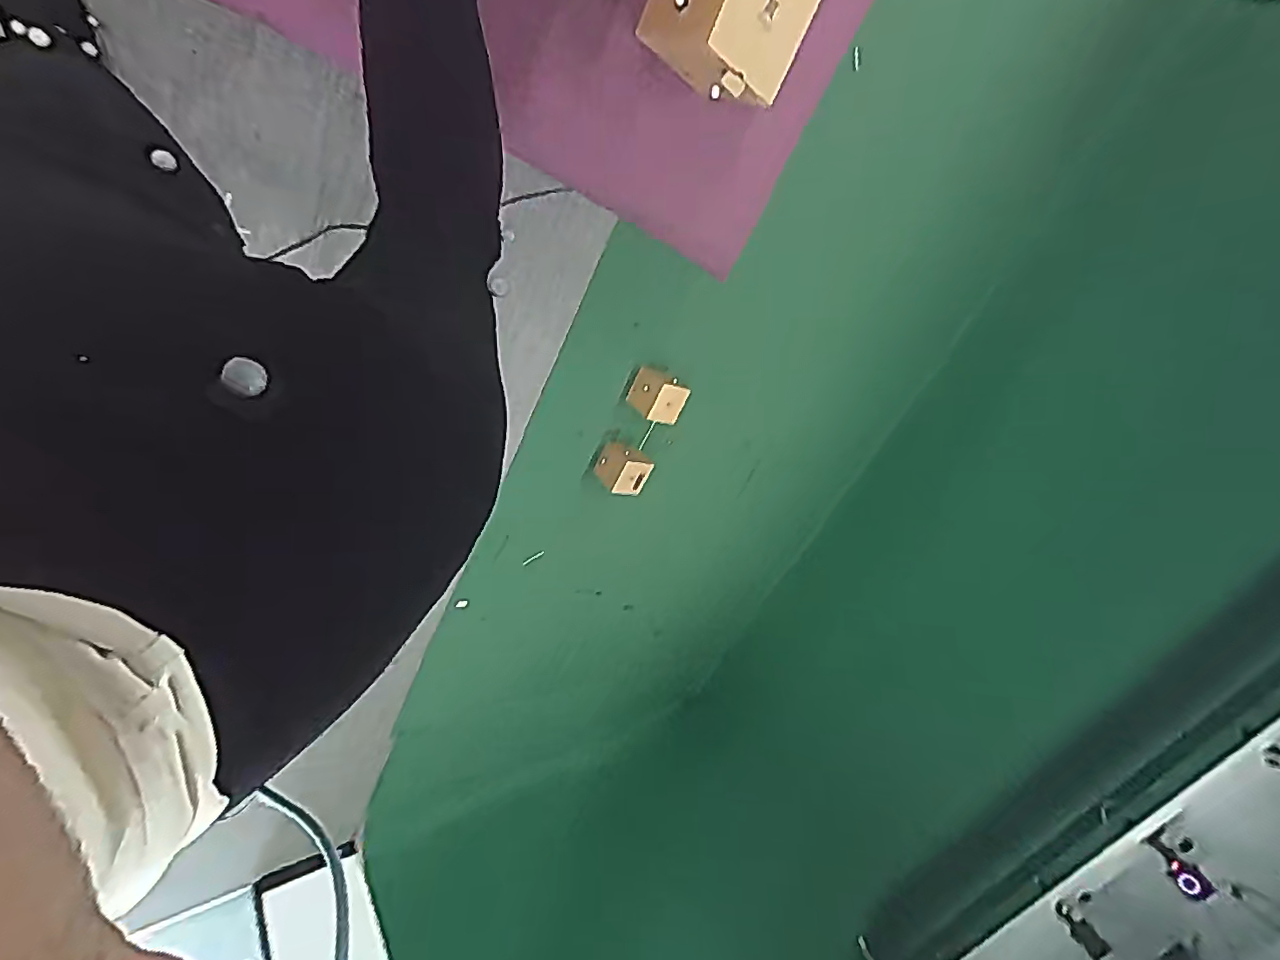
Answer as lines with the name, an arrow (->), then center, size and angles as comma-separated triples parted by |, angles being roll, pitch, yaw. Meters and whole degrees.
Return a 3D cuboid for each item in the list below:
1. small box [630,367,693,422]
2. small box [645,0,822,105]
small box -> 0.086, -0.364, 2.290 | 0.179, 0.176, 0.168 | 2, 123, -46
small box -> 0.132, -0.693, 0.788 | 0.168, 0.176, 0.179 | 3, 122, -46
